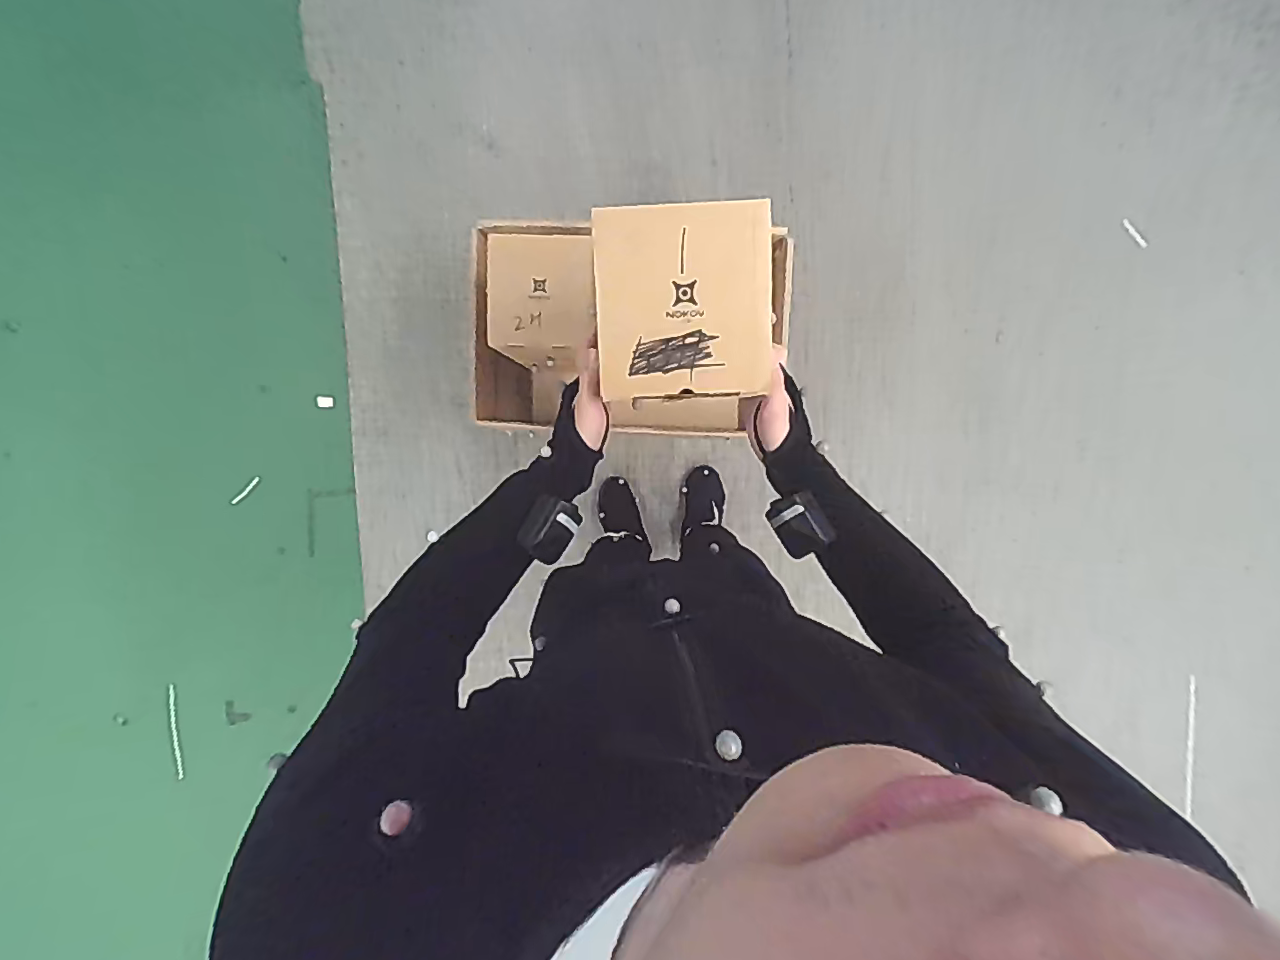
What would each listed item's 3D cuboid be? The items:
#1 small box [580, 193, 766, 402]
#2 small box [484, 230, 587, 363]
[{"bbox_3d":[0.033,-0.175,0.564,0.168,0.176,0.179,-3,99,1],"label":"small box"},{"bbox_3d":[-0.157,-0.302,0.919,0.168,0.176,0.179,2,95,2],"label":"small box"}]
